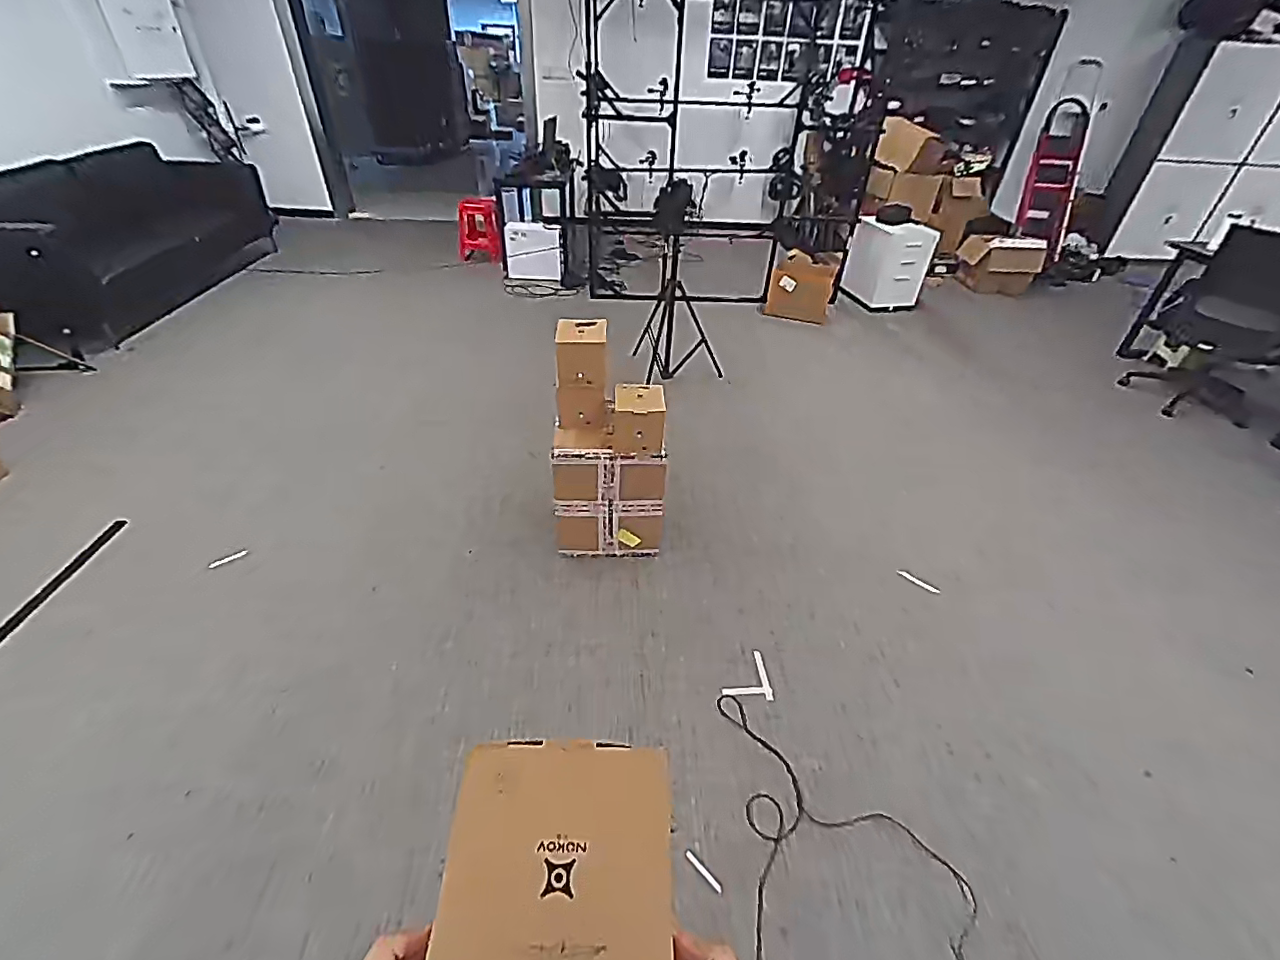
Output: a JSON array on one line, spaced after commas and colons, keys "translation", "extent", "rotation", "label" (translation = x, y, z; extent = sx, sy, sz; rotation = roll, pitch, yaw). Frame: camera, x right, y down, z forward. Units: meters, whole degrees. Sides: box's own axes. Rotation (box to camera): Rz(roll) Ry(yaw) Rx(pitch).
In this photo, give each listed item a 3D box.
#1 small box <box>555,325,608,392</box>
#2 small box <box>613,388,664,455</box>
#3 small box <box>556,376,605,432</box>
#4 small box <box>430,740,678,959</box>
[{"translation": [-0.196, -0.415, 1.841], "extent": [0.168, 0.176, 0.179], "rotation": [-1, 40, -2], "label": "small box"}, {"translation": [-0.006, -0.197, 1.842], "extent": [0.168, 0.176, 0.179], "rotation": [1, 40, -4], "label": "small box"}, {"translation": [-0.214, -0.290, 1.947], "extent": [0.168, 0.176, 0.179], "rotation": [-4, 40, -5], "label": "small box"}, {"translation": [-0.061, 0.335, 0.447], "extent": [0.168, 0.176, 0.179], "rotation": [2, 48, -2], "label": "small box"}]
